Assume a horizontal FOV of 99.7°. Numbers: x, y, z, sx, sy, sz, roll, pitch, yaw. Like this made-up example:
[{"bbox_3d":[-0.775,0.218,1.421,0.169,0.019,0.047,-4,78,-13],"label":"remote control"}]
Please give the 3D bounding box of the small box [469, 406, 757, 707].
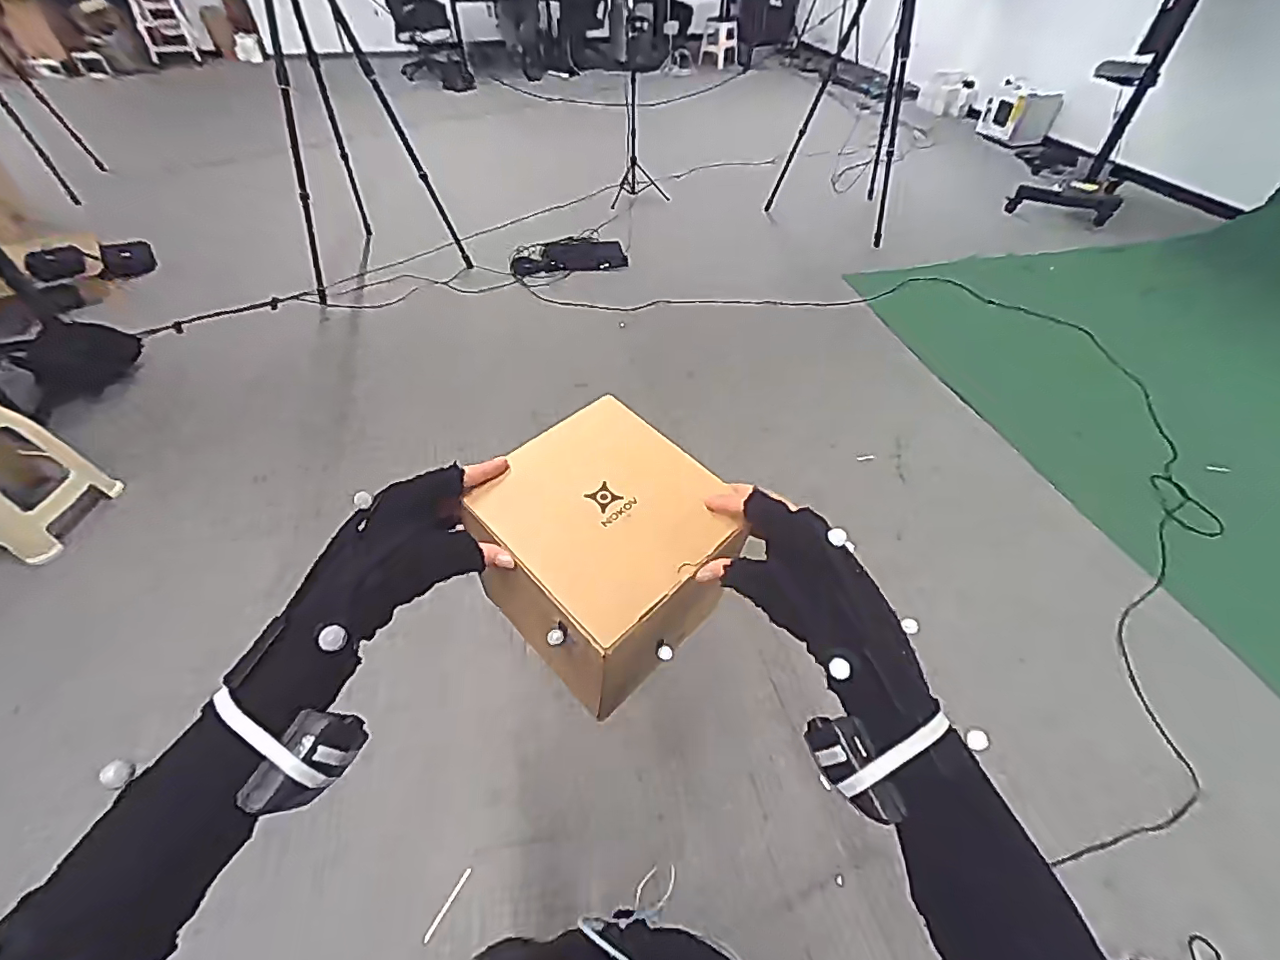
[{"bbox_3d":[-0.029,0.071,0.493,0.168,0.176,0.179,-36,64,-29],"label":"small box"}]
